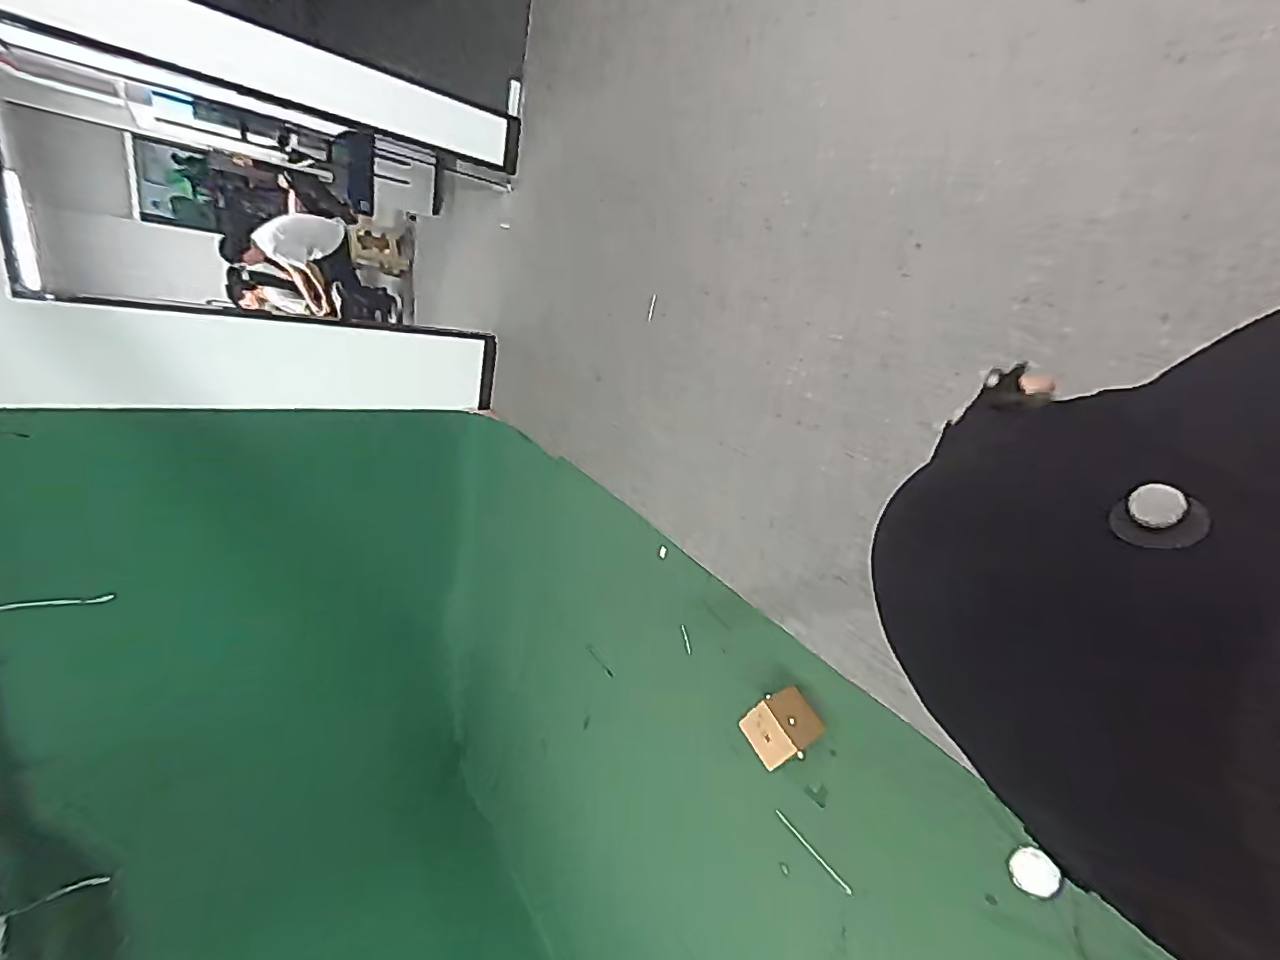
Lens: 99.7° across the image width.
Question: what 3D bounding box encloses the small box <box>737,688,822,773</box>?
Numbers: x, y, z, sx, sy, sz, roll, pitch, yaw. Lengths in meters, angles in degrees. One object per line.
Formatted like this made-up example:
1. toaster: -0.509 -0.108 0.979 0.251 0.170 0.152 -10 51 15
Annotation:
1. small box: 0.463 0.822 1.788 0.179 0.176 0.168 55 131 32
